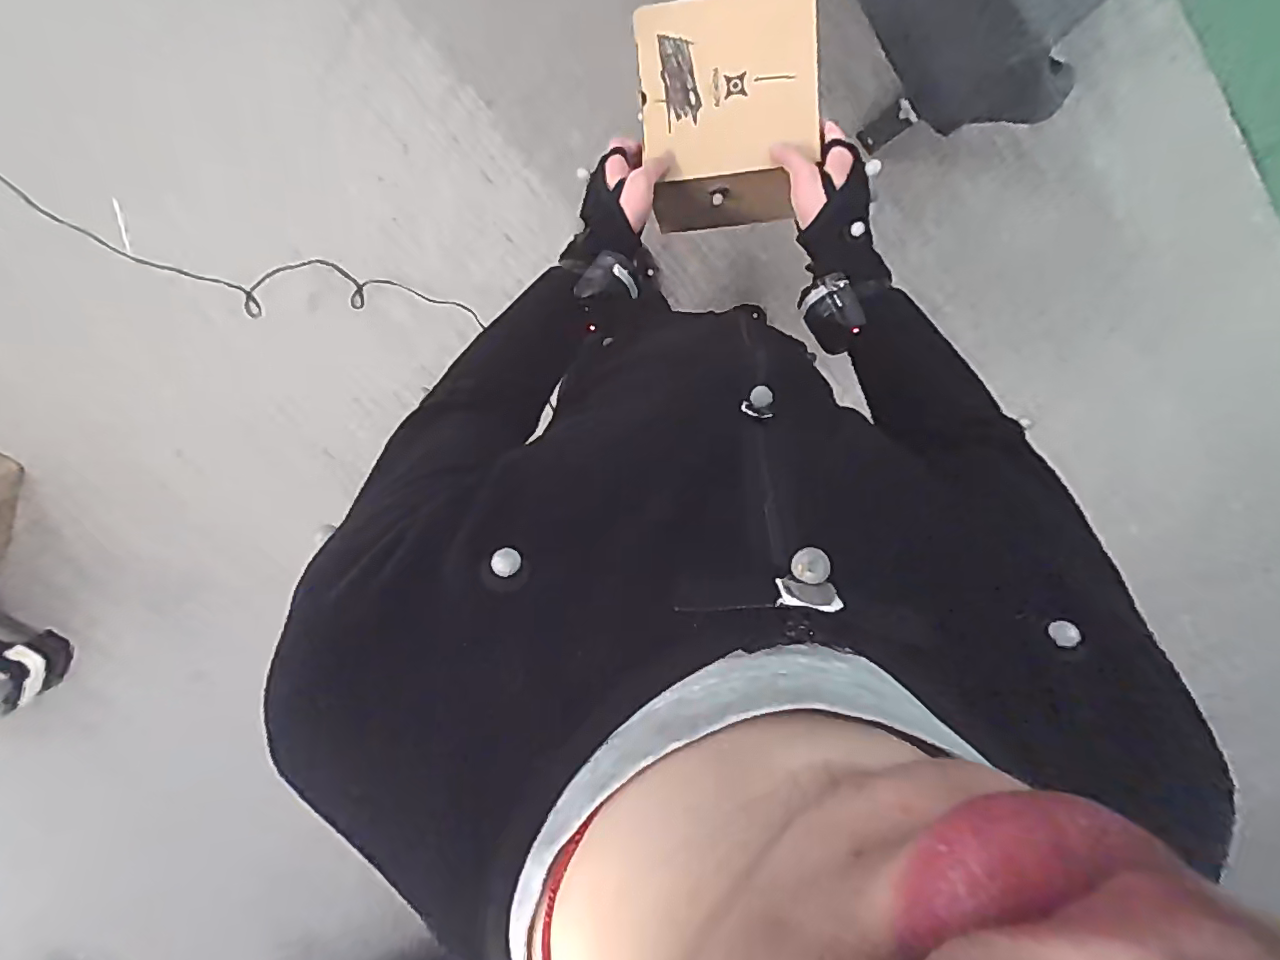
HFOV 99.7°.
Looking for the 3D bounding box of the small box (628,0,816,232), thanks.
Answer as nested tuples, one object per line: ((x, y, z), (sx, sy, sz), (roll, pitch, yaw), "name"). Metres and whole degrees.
((0.089, -0.392, 0.601), (0.179, 0.176, 0.168), (-4, 98, 7), "small box")

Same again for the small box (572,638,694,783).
((-0.006, 0.457, 1.087), (0.179, 0.176, 0.168), (-36, 105, 17), "small box")
